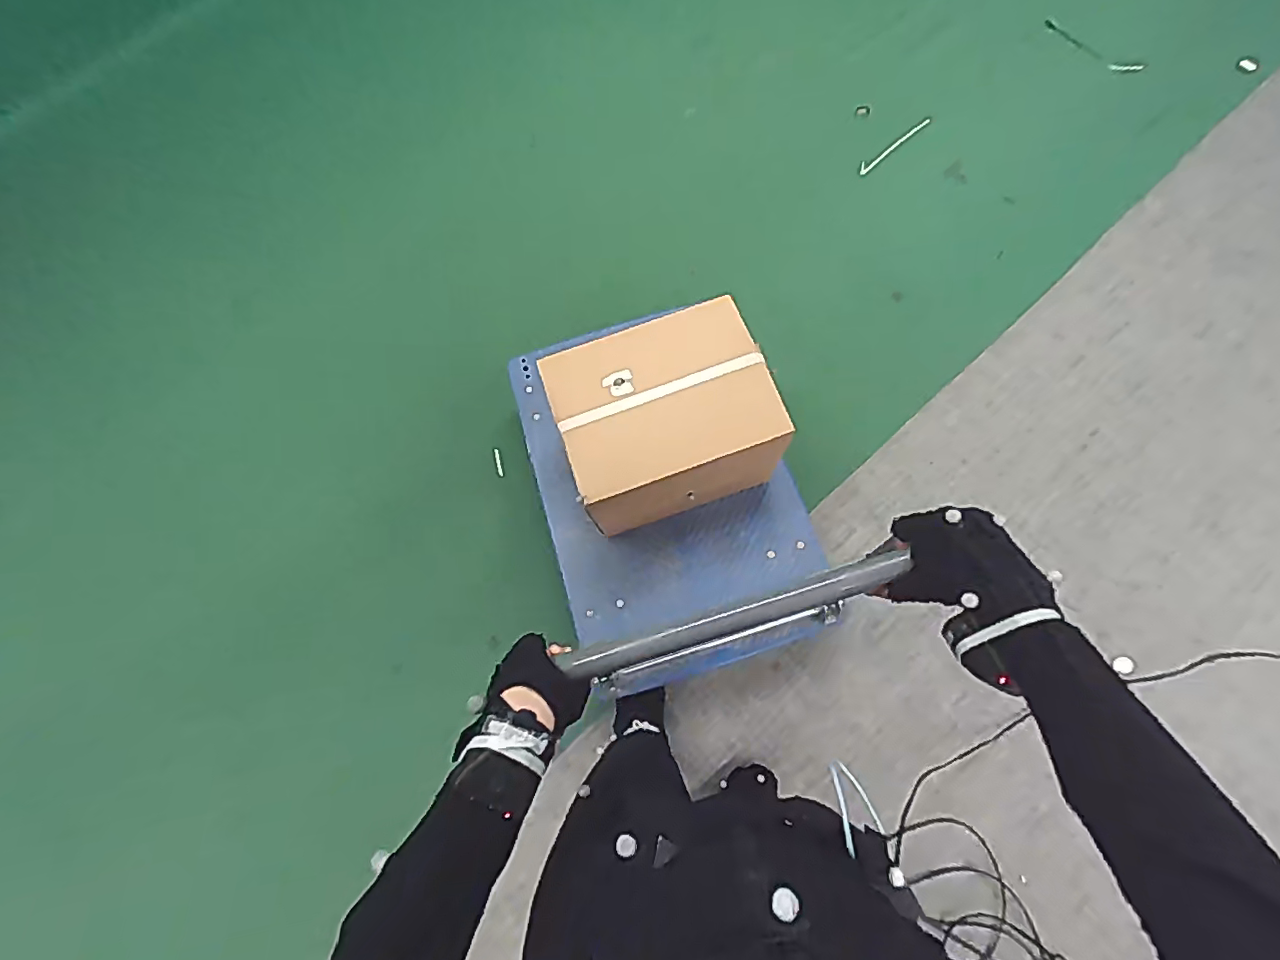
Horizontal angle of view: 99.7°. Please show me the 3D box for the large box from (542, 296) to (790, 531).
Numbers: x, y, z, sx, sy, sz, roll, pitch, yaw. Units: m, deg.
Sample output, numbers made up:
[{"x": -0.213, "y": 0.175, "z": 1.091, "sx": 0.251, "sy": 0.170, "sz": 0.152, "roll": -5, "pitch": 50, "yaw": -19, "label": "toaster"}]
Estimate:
[{"x": 0.054, "y": -0.121, "z": 1.168, "sx": 0.408, "sy": 0.320, "sz": 0.320, "roll": -21, "pitch": 72, "yaw": -1, "label": "large box"}]
